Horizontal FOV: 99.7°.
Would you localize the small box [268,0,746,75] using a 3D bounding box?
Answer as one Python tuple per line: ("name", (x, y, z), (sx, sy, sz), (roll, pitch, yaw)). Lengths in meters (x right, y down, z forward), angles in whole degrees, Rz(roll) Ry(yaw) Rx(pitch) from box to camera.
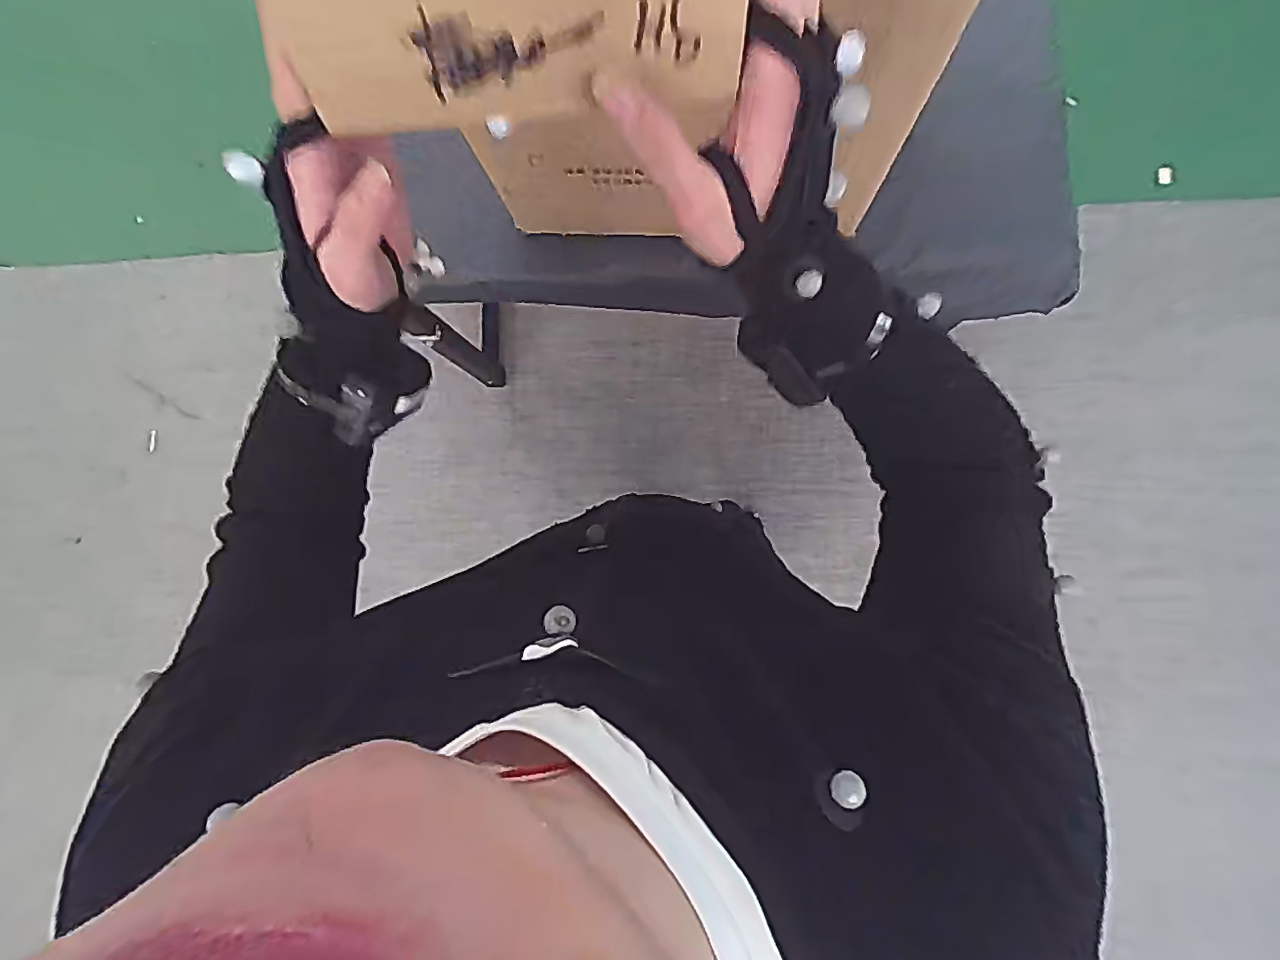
("small box", (-0.053, -0.270, 0.173), (0.168, 0.179, 0.176), (-6, 57, -1))
